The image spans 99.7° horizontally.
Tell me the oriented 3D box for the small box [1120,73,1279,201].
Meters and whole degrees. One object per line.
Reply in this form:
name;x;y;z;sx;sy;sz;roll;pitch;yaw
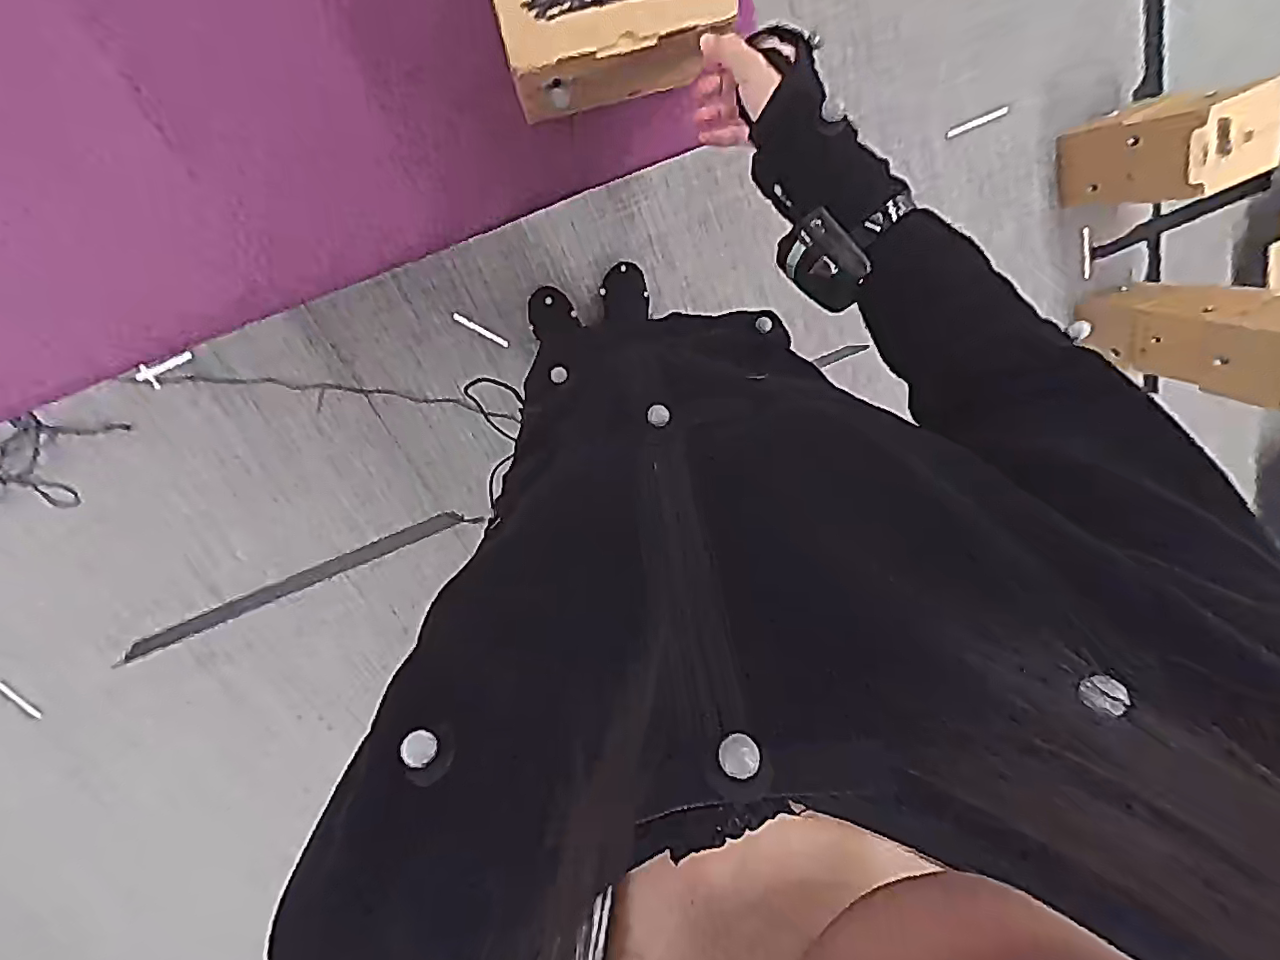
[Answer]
small box;1.153;-0.700;1.126;0.179;0.176;0.168;-24;115;-1

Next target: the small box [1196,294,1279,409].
small box;1.370;-0.281;1.167;0.168;0.176;0.179;-21;117;1

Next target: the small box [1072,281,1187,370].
small box;1.311;-0.420;1.457;0.168;0.176;0.179;-20;116;-1

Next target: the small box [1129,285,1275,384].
small box;1.349;-0.360;1.310;0.179;0.176;0.168;-23;116;1

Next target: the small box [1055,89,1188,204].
small box;1.125;-0.769;1.272;0.168;0.176;0.179;-26;114;1
